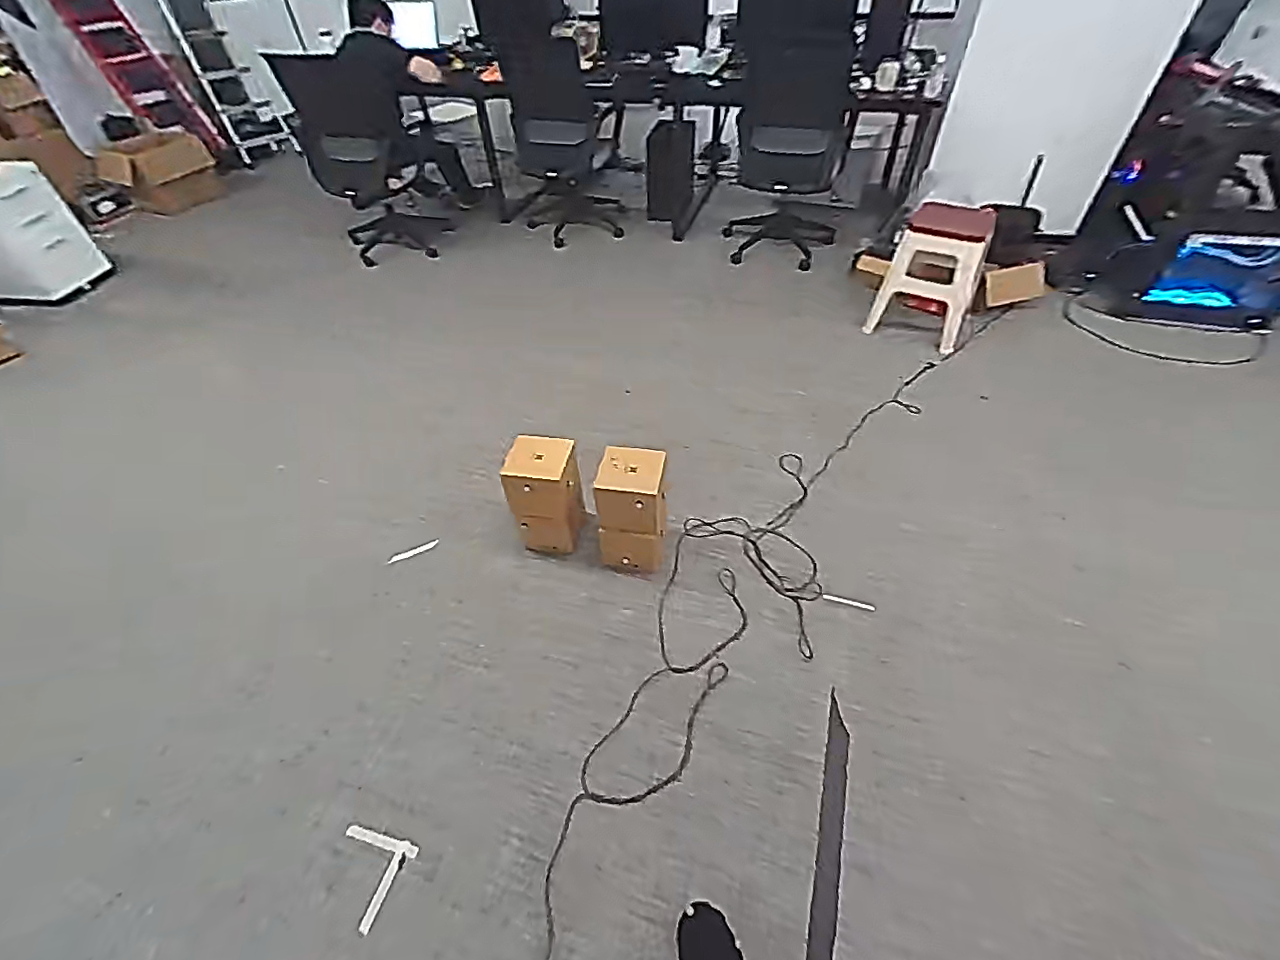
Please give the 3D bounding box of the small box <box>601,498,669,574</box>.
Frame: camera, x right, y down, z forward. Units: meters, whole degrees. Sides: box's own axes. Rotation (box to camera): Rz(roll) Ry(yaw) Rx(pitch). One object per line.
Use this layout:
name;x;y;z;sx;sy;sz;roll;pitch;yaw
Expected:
small box;-0.009;0.155;1.624;0.168;0.176;0.179;8;48;12

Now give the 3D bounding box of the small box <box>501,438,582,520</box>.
small box;-0.276;-0.001;1.569;0.179;0.176;0.168;5;46;9

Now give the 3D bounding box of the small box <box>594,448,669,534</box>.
small box;-0.015;0.033;1.513;0.179;0.176;0.168;6;46;11
